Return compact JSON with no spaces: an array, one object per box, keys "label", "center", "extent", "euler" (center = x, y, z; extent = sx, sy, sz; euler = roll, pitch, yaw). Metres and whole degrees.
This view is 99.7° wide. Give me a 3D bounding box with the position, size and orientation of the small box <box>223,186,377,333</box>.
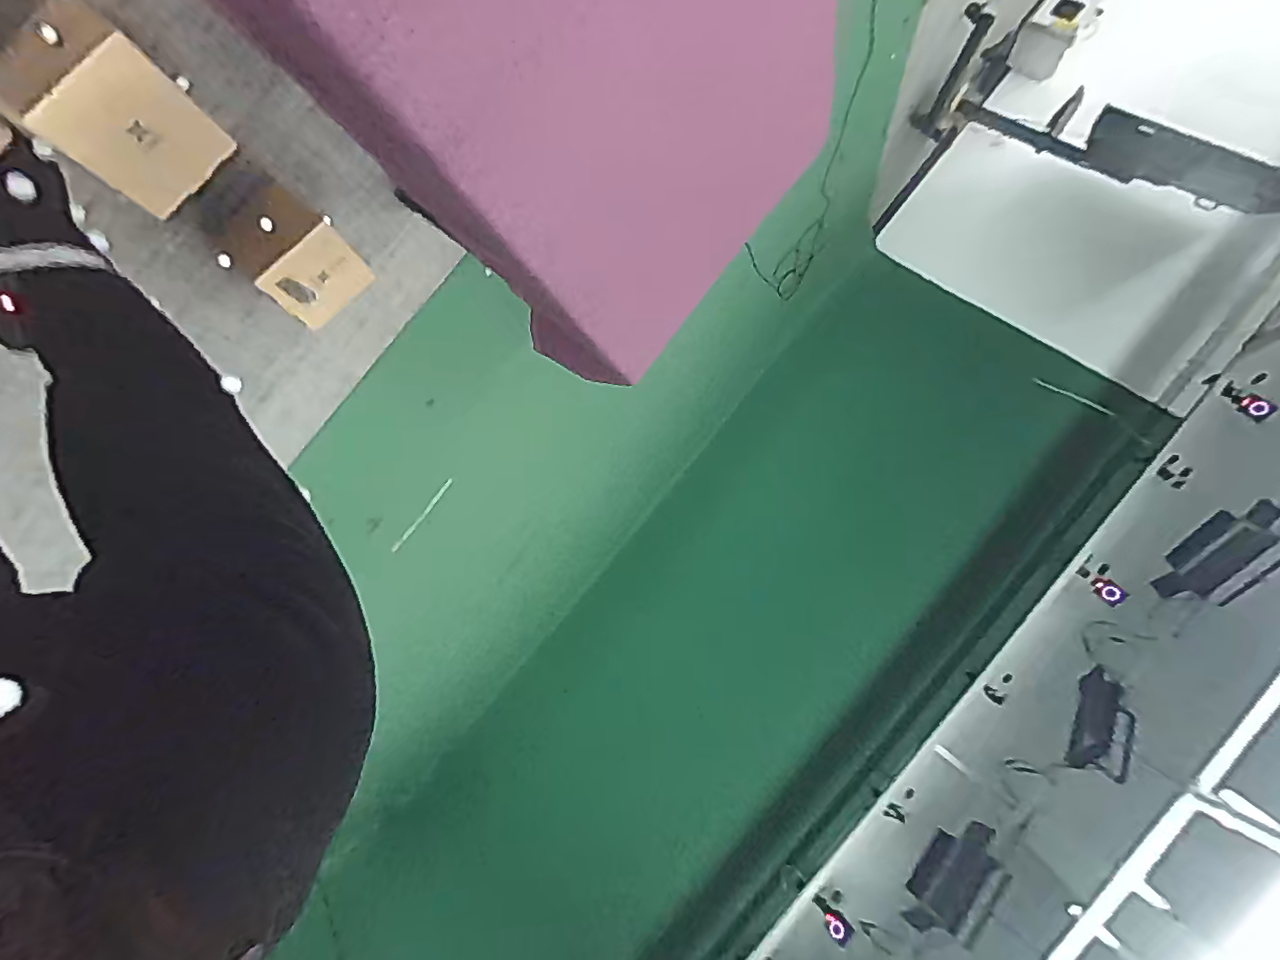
[{"label":"small box","center":[-0.682,-0.439,1.082],"extent":[0.179,0.176,0.168],"euler":[-49,163,-8]}]
